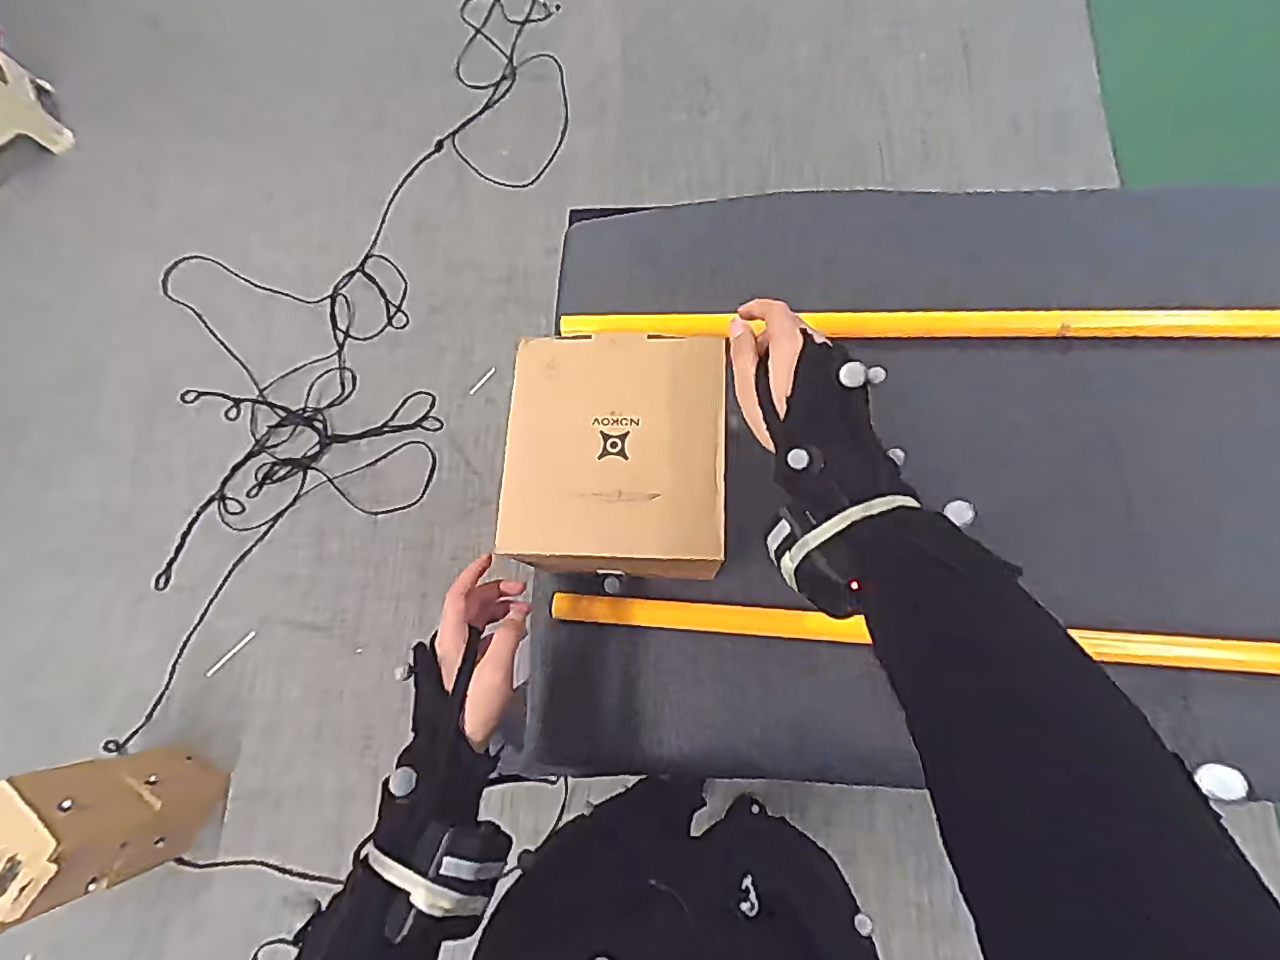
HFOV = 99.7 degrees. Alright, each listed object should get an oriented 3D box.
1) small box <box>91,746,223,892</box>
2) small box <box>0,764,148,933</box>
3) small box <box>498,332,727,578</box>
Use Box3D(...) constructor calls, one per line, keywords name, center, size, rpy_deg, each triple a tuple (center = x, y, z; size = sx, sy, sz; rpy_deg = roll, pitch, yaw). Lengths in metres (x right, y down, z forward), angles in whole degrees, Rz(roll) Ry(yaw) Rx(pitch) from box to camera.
Box3D(name="small box", center=(-1.035, 0.691, 1.127), size=(0.168, 0.176, 0.179), rpy_deg=(27, 78, 12))
Box3D(name="small box", center=(-1.060, 0.644, 0.970), size=(0.179, 0.176, 0.168), rpy_deg=(32, 79, 13))
Box3D(name="small box", center=(-0.011, -0.011, 0.480), size=(0.168, 0.176, 0.179), rpy_deg=(0, 75, 6))
